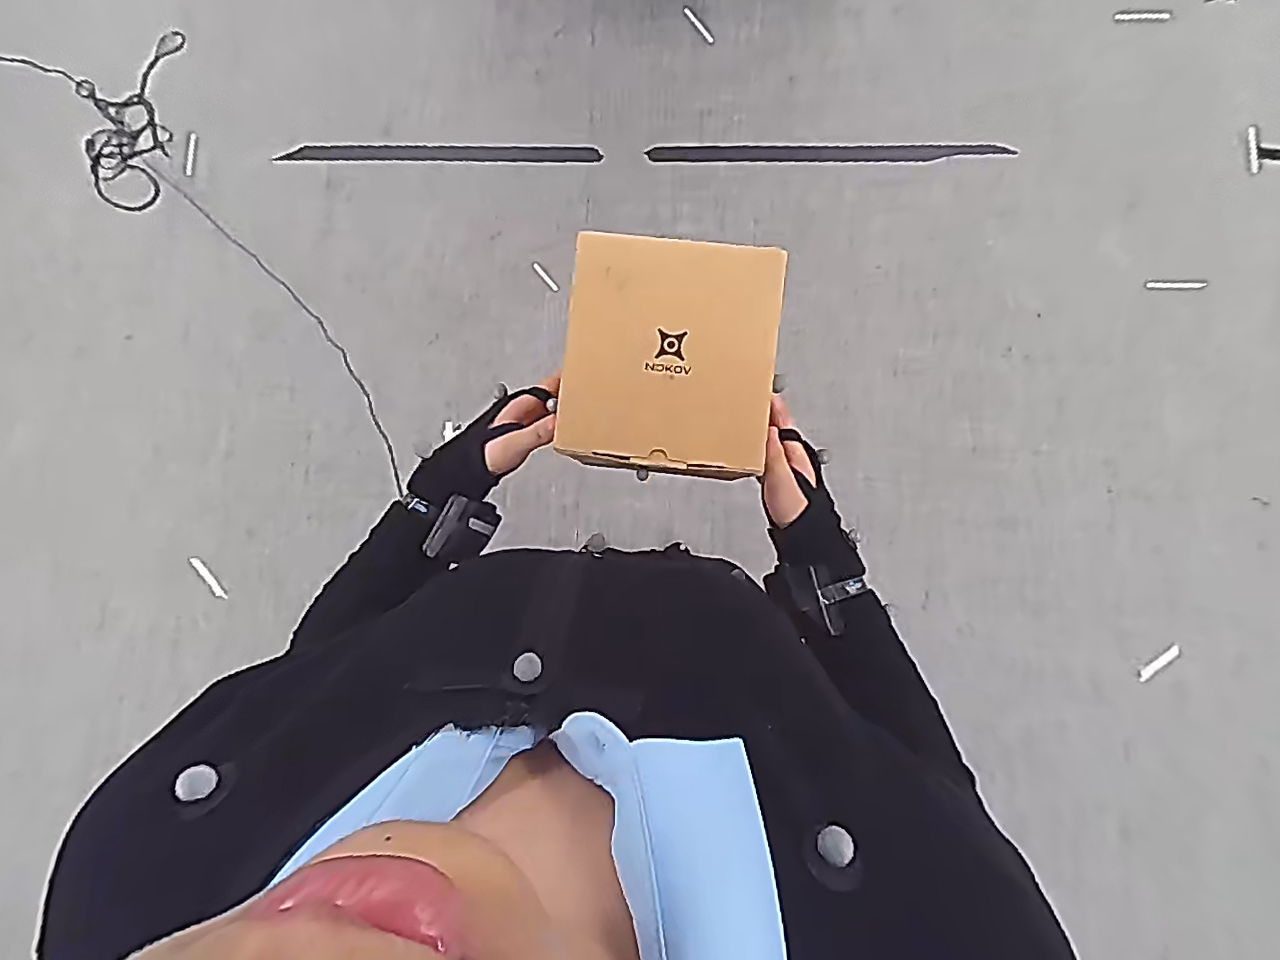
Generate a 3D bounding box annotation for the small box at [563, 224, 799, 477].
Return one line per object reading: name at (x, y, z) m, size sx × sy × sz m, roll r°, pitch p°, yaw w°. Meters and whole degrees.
small box at (0.032, -0.099, 0.489) m, size 0.168 × 0.176 × 0.179 m, roll 6°, pitch 89°, yaw 1°
